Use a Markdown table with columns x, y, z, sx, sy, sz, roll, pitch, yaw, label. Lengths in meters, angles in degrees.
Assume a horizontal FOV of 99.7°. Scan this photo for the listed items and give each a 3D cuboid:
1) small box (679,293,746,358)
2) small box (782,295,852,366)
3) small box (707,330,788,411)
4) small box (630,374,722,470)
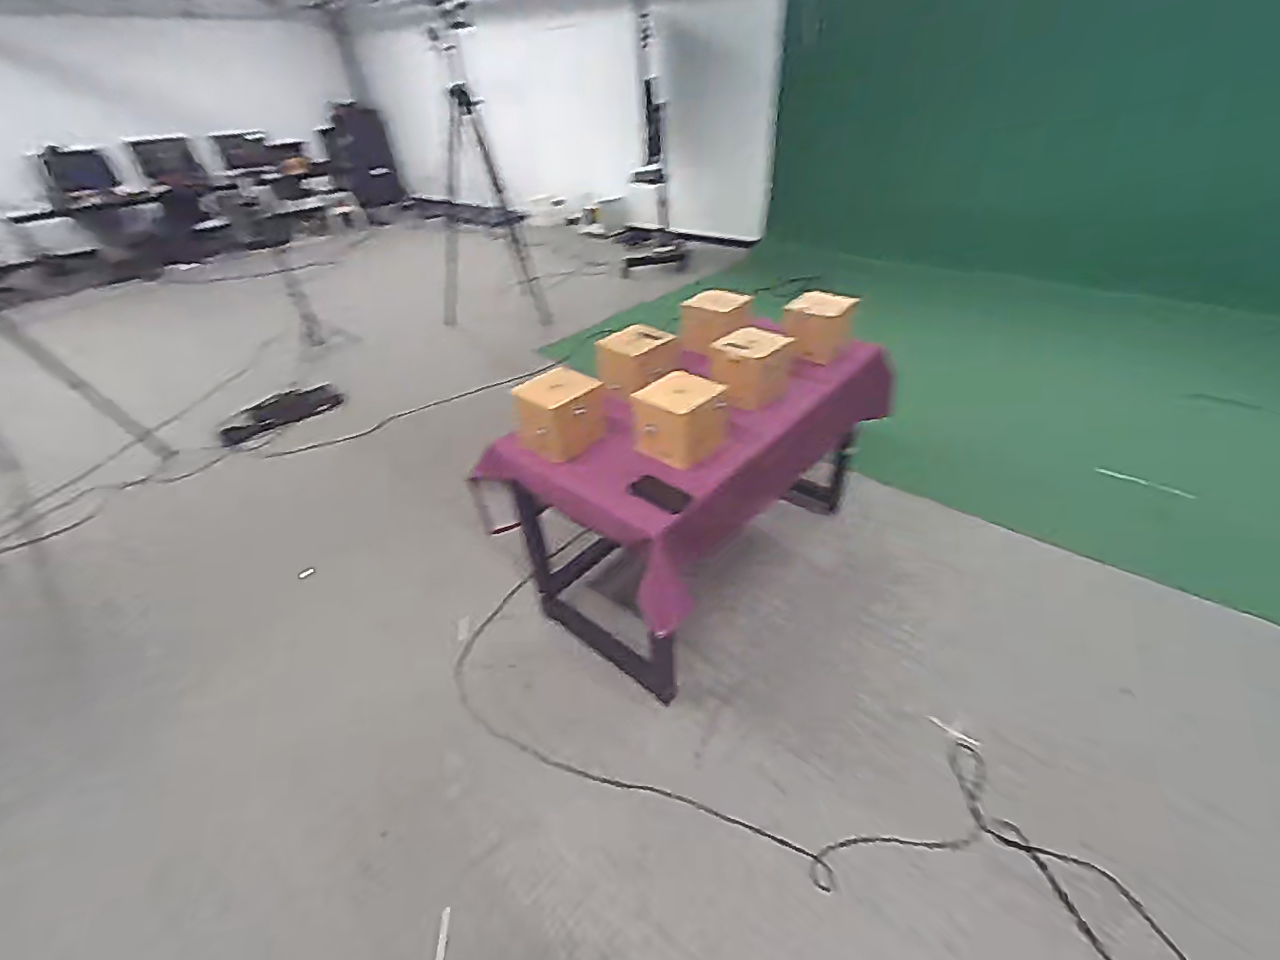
| x | y | z | sx | sy | sz | roll | pitch | yaw | label |
| --- | --- | --- | --- | --- | --- | --- | --- | --- | --- |
| 0.253 | -0.538 | 1.896 | 0.179 | 0.176 | 0.168 | 24 | 45 | 31 | small box |
| 0.589 | -0.505 | 1.822 | 0.168 | 0.176 | 0.179 | 24 | 45 | 33 | small box |
| 0.317 | -0.324 | 1.607 | 0.168 | 0.176 | 0.179 | 29 | 47 | 36 | small box |
| 0.097 | -0.149 | 1.394 | 0.168 | 0.176 | 0.179 | 27 | 45 | 34 | small box |
